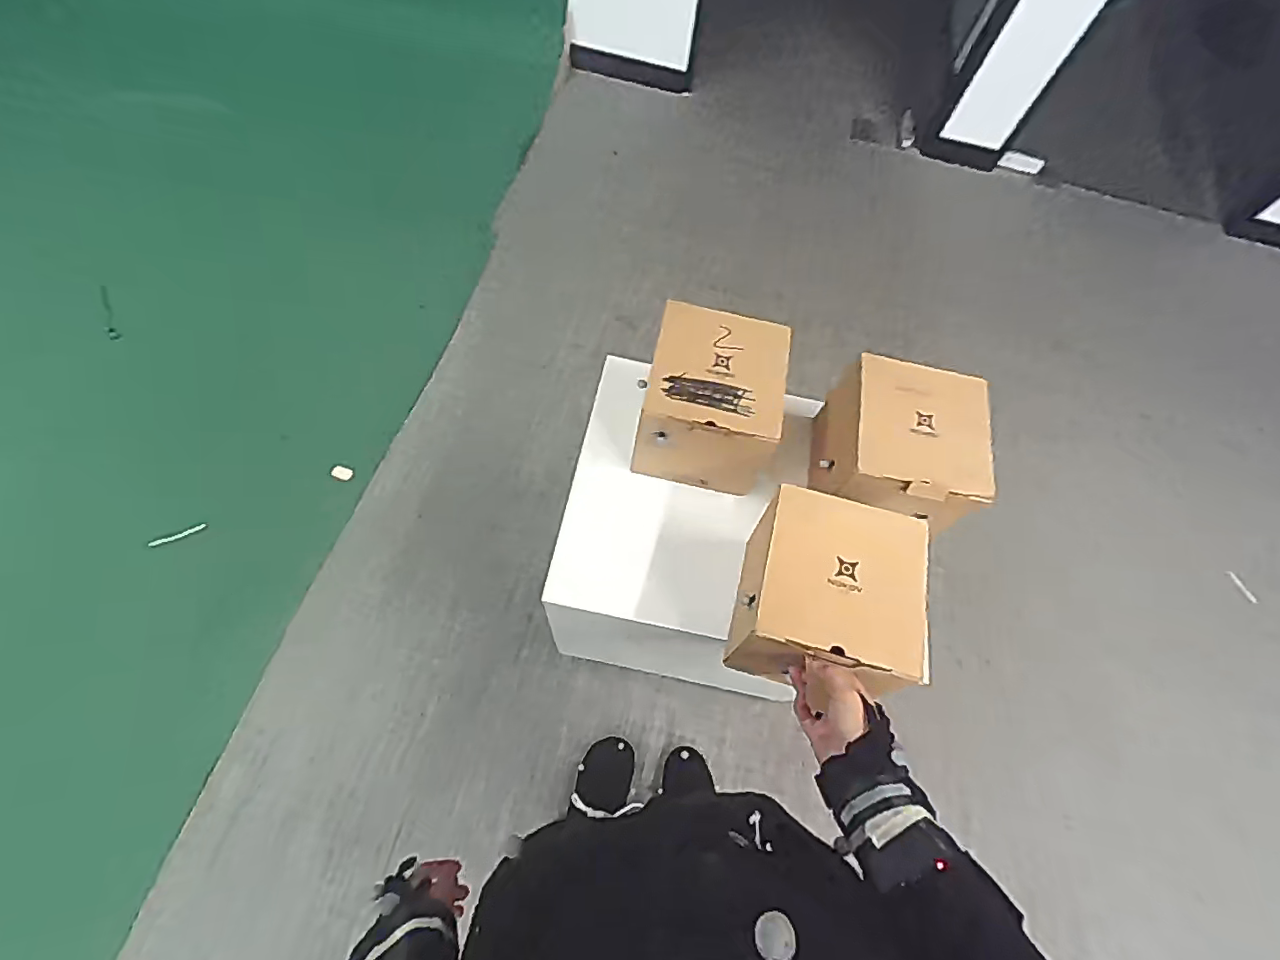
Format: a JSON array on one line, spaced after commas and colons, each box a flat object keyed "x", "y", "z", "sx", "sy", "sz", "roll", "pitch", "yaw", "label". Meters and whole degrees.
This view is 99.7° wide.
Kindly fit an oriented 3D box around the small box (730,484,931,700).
[{"x": 0.210, "y": 0.135, "z": 0.624, "sx": 0.168, "sy": 0.176, "sz": 0.179, "roll": 15, "pitch": 62, "yaw": 5, "label": "small box"}]

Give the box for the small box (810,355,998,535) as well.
[{"x": 0.339, "y": -0.033, "z": 0.724, "sx": 0.168, "sy": 0.176, "sz": 0.179, "roll": 13, "pitch": 65, "yaw": 0, "label": "small box"}]
